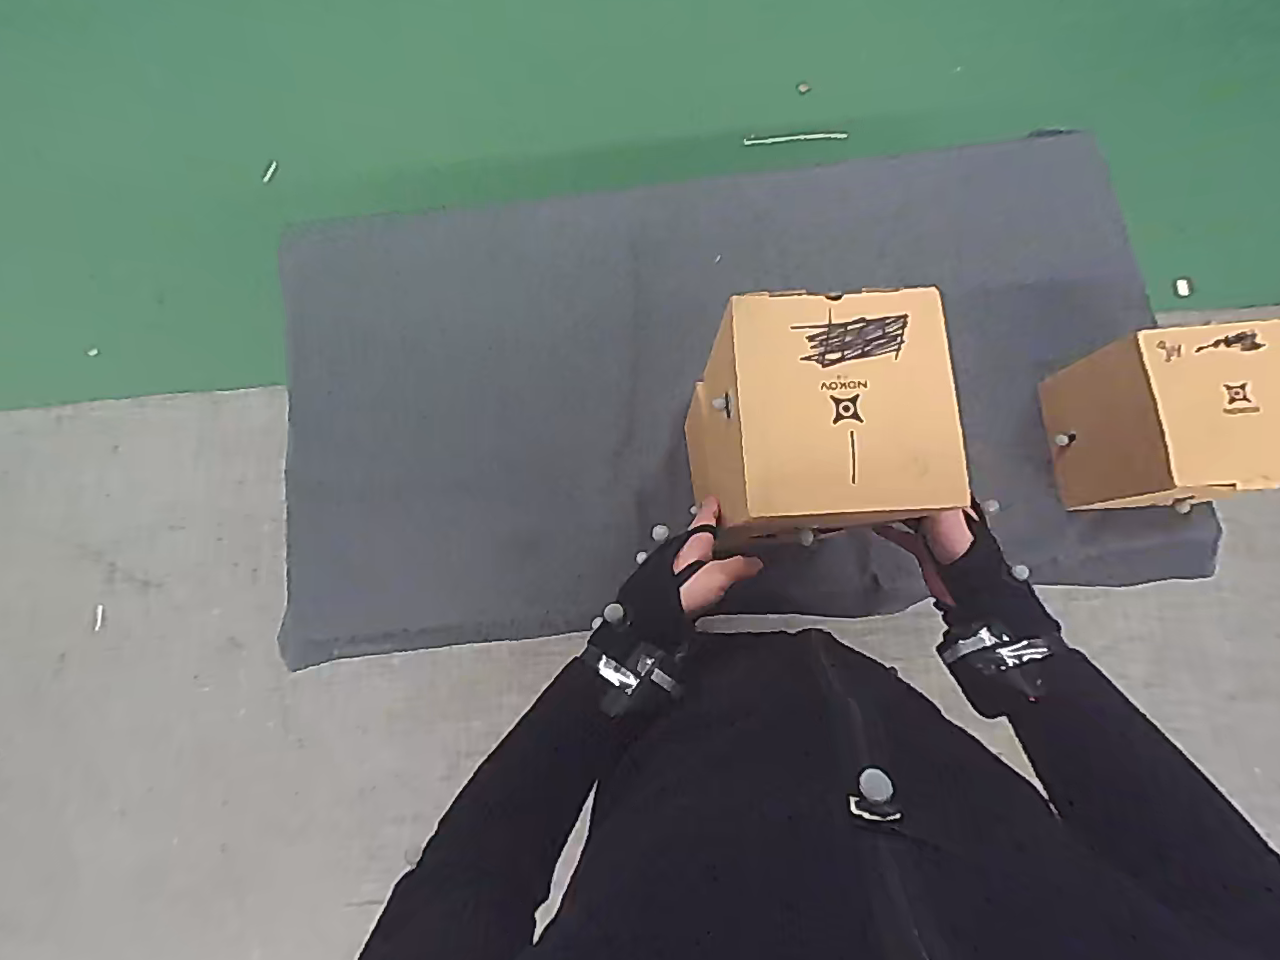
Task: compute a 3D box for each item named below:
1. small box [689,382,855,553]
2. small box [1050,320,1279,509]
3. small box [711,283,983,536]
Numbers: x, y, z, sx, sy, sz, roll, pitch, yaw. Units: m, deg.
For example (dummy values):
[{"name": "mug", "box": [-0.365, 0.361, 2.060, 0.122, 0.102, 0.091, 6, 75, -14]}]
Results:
[{"name": "small box", "box": [0.154, -0.011, 0.634, 0.168, 0.176, 0.179, -7, 77, -1]}, {"name": "small box", "box": [0.624, -0.062, 0.624, 0.168, 0.176, 0.179, -4, 78, 4]}, {"name": "small box", "box": [0.157, -0.048, 0.474, 0.168, 0.176, 0.179, -3, 79, 0]}]
